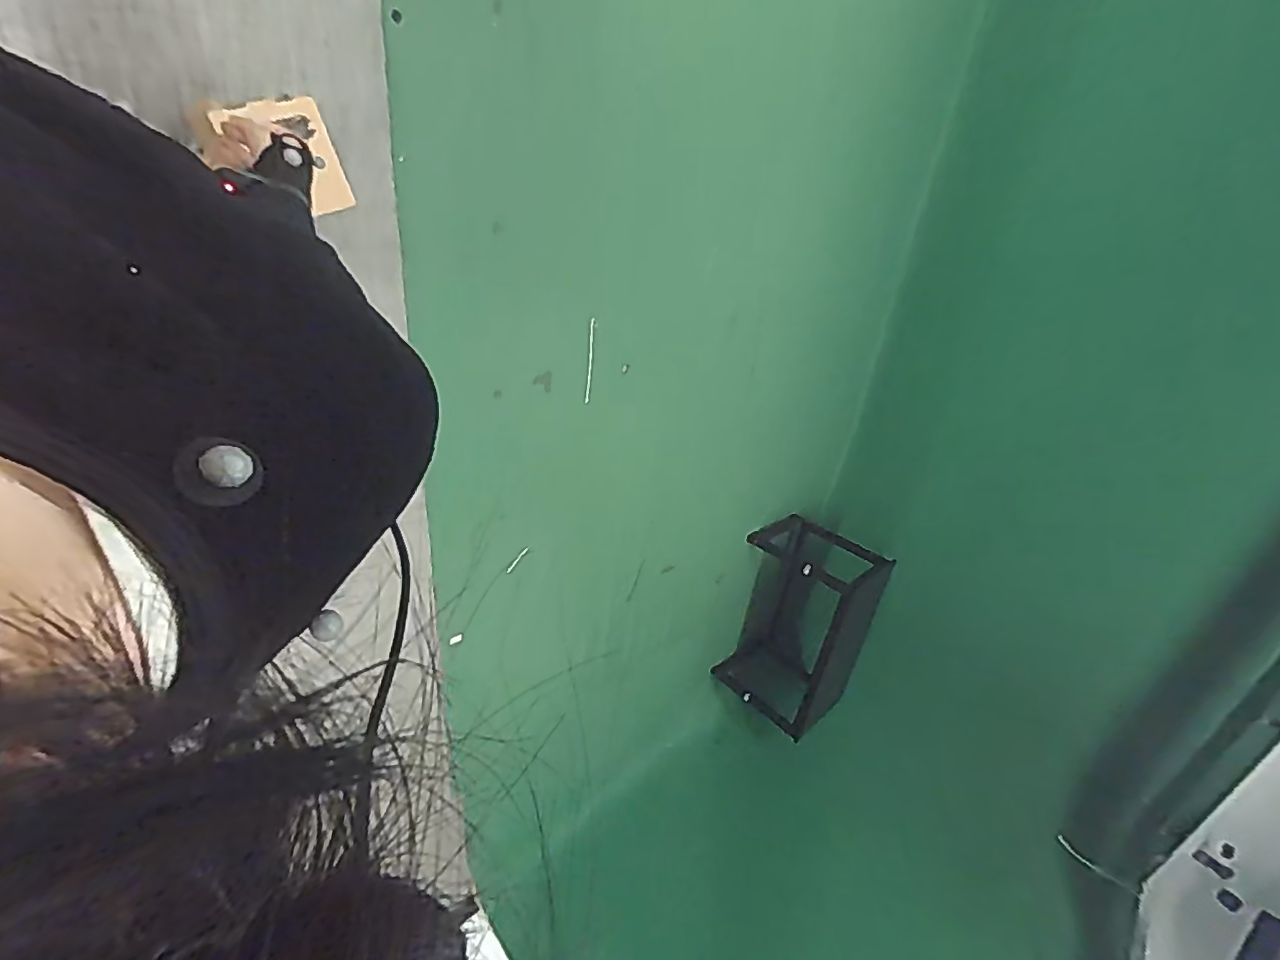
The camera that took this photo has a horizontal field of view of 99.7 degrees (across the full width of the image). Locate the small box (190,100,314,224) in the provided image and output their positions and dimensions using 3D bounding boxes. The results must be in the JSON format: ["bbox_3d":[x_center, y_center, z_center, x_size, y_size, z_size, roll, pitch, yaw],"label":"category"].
[{"bbox_3d":[-0.778,-0.626,1.079,0.179,0.176,0.168,-6,118,-46],"label":"small box"}]
